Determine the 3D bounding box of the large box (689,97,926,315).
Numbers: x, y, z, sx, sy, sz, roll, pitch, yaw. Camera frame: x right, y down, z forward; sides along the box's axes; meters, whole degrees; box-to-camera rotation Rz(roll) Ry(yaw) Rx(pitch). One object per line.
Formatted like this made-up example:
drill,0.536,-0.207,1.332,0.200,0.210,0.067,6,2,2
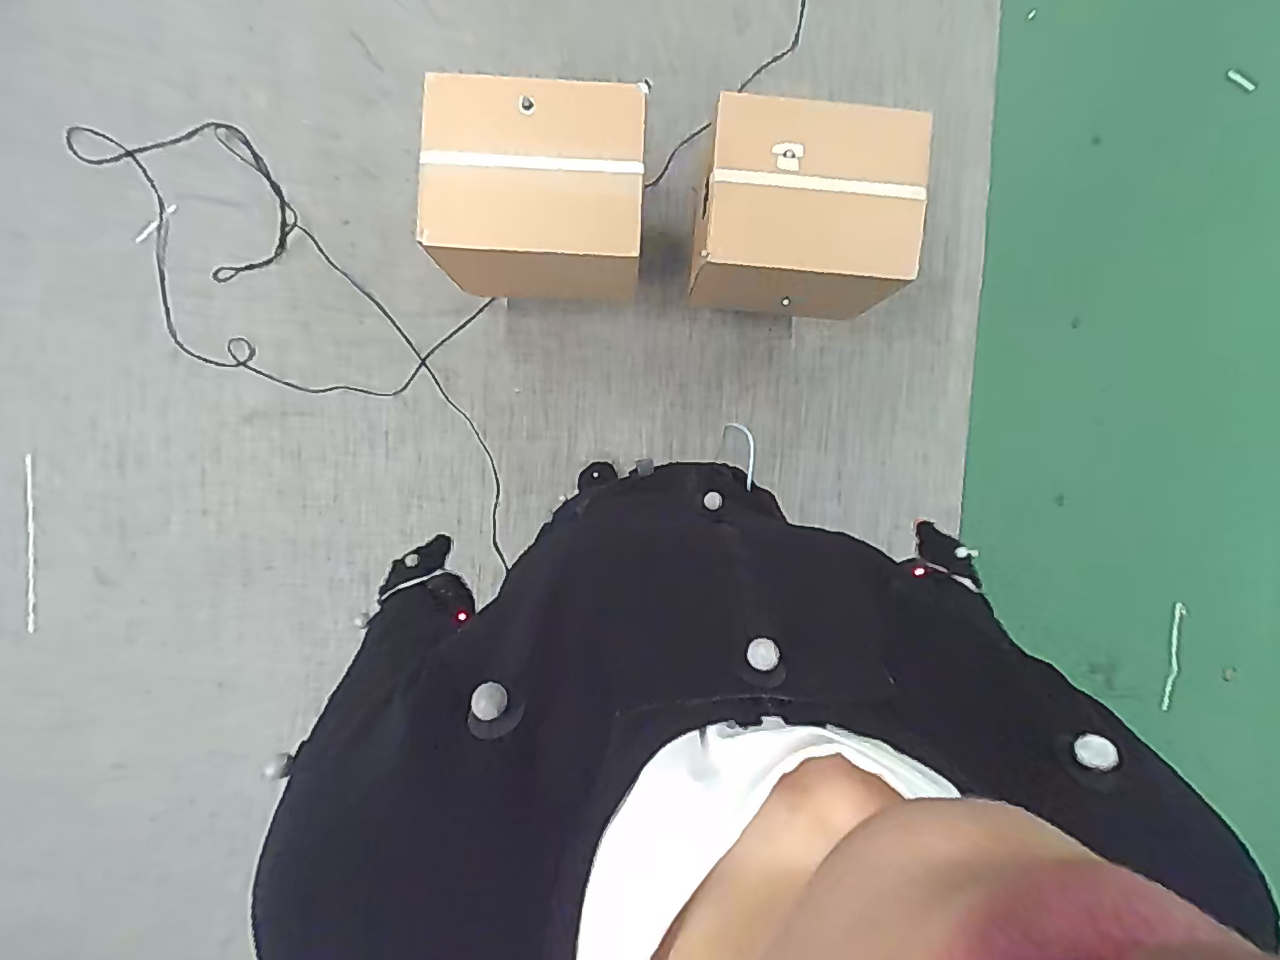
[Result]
large box,0.331,-0.558,1.169,0.408,0.320,0.320,5,92,-1
